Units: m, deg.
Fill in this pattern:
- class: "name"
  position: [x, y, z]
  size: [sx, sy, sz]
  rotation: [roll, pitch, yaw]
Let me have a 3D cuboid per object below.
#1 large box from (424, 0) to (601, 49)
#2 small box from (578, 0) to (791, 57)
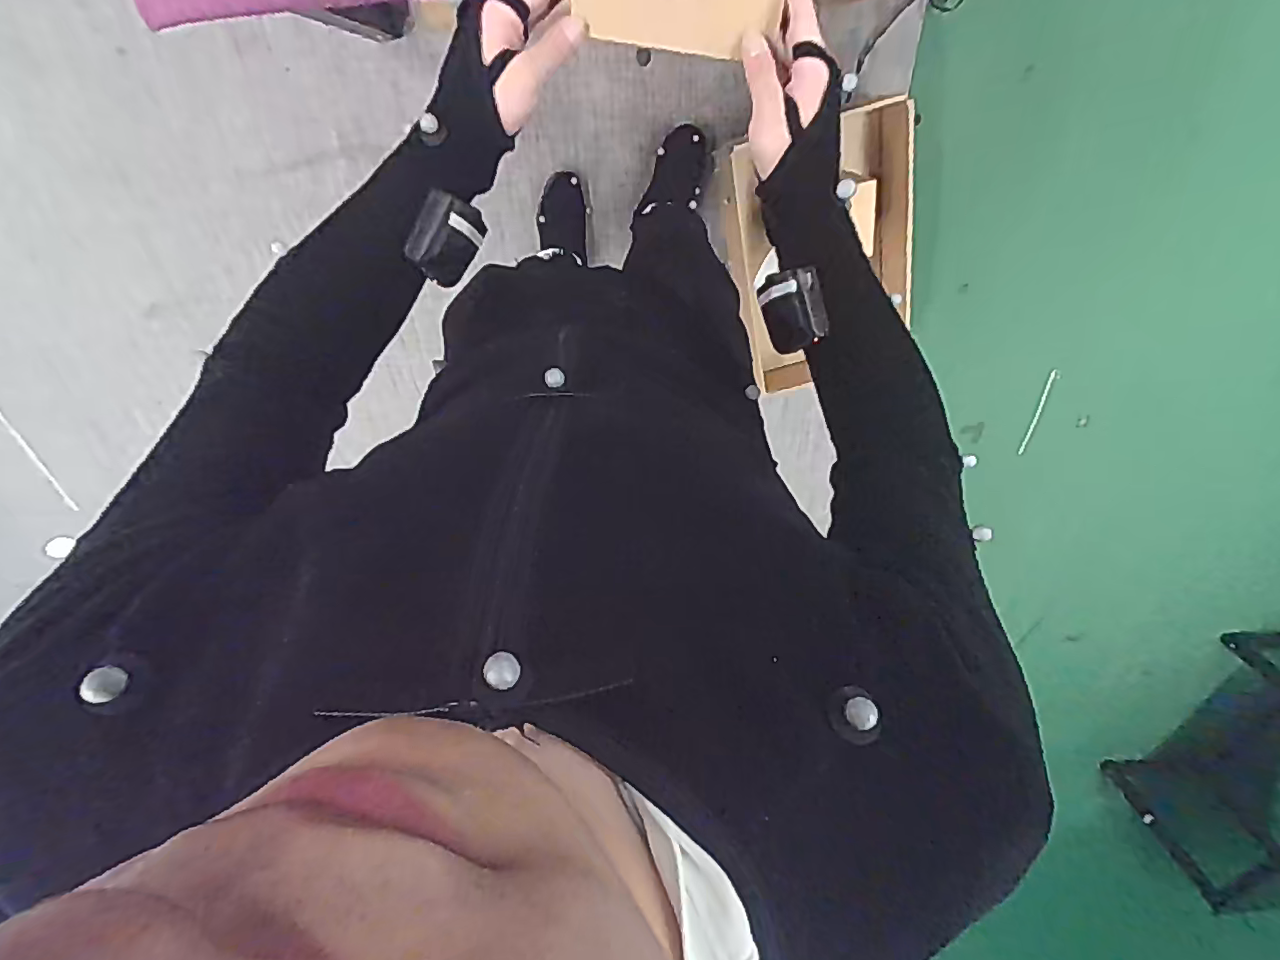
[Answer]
- class: "large box"
  position: [-0.236, -1.040, 0.940]
  size: [0.320, 0.320, 0.408]
  rotation: [-7, 123, -1]
- class: "small box"
  position: [0.040, -0.467, 0.436]
  size: [0.168, 0.176, 0.179]
  rotation: [5, 130, -6]
